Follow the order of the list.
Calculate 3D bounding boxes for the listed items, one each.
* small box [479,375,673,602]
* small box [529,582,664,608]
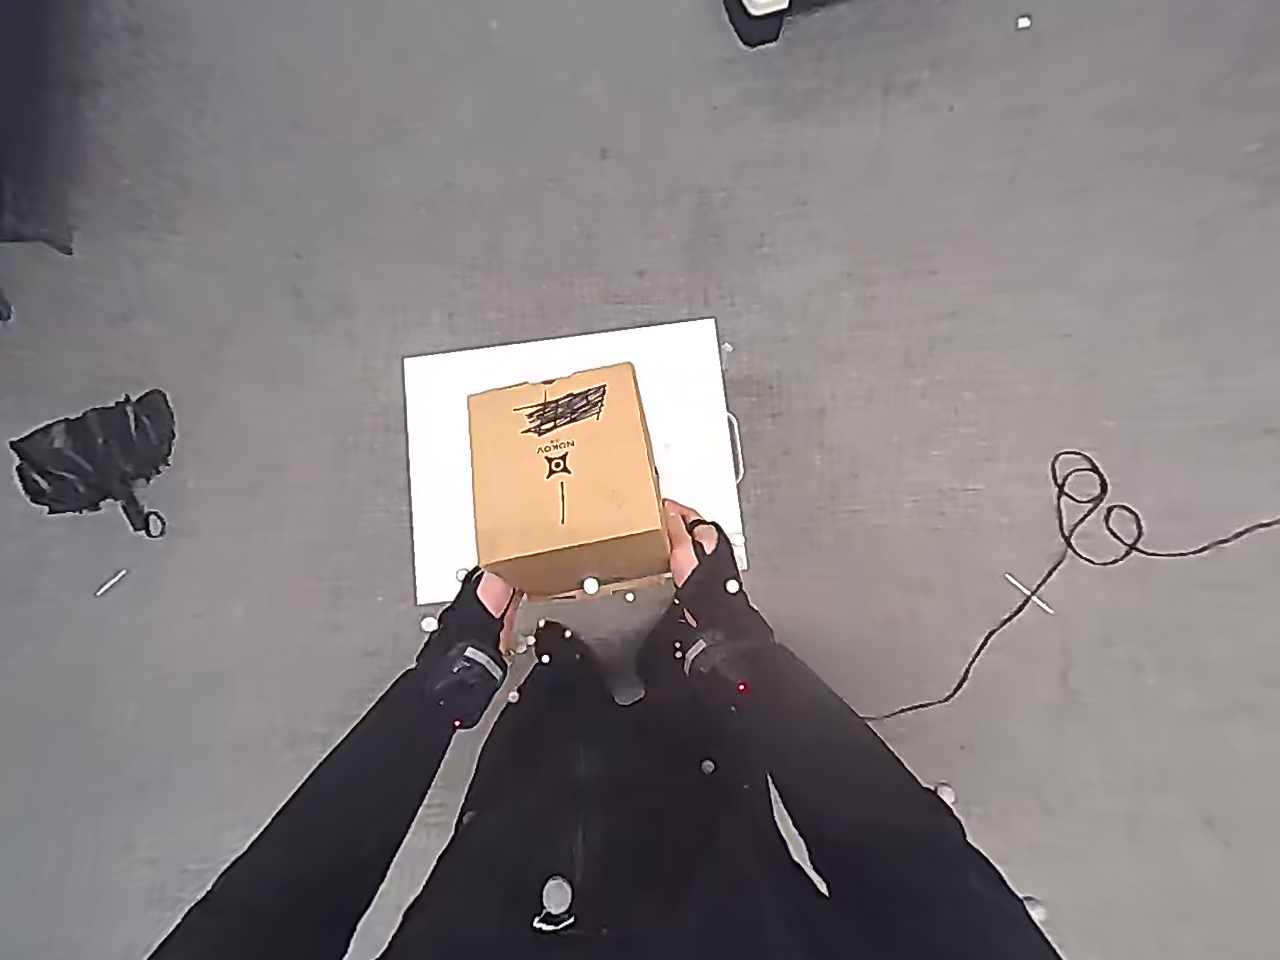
[{"bbox_3d":[-0.061,0.019,0.573,0.168,0.176,0.179,-11,67,3],"label":"small box"},{"bbox_3d":[-0.057,0.076,0.748,0.168,0.176,0.179,-7,79,2],"label":"small box"}]
